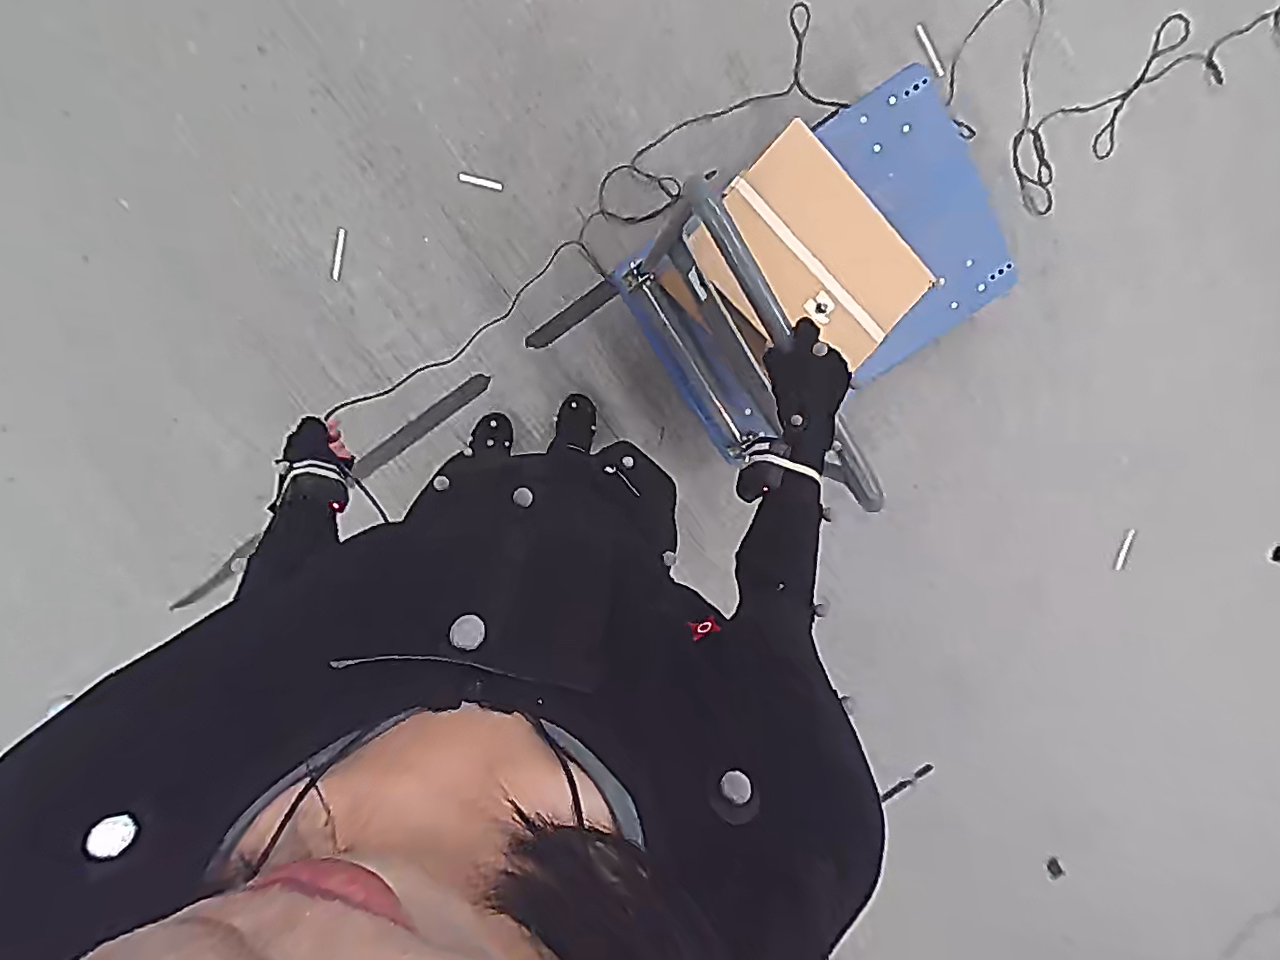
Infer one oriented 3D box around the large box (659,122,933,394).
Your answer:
[{"bbox_3d":[0.303,-0.431,1.156,0.408,0.320,0.320,41,94,-12],"label":"large box"}]
